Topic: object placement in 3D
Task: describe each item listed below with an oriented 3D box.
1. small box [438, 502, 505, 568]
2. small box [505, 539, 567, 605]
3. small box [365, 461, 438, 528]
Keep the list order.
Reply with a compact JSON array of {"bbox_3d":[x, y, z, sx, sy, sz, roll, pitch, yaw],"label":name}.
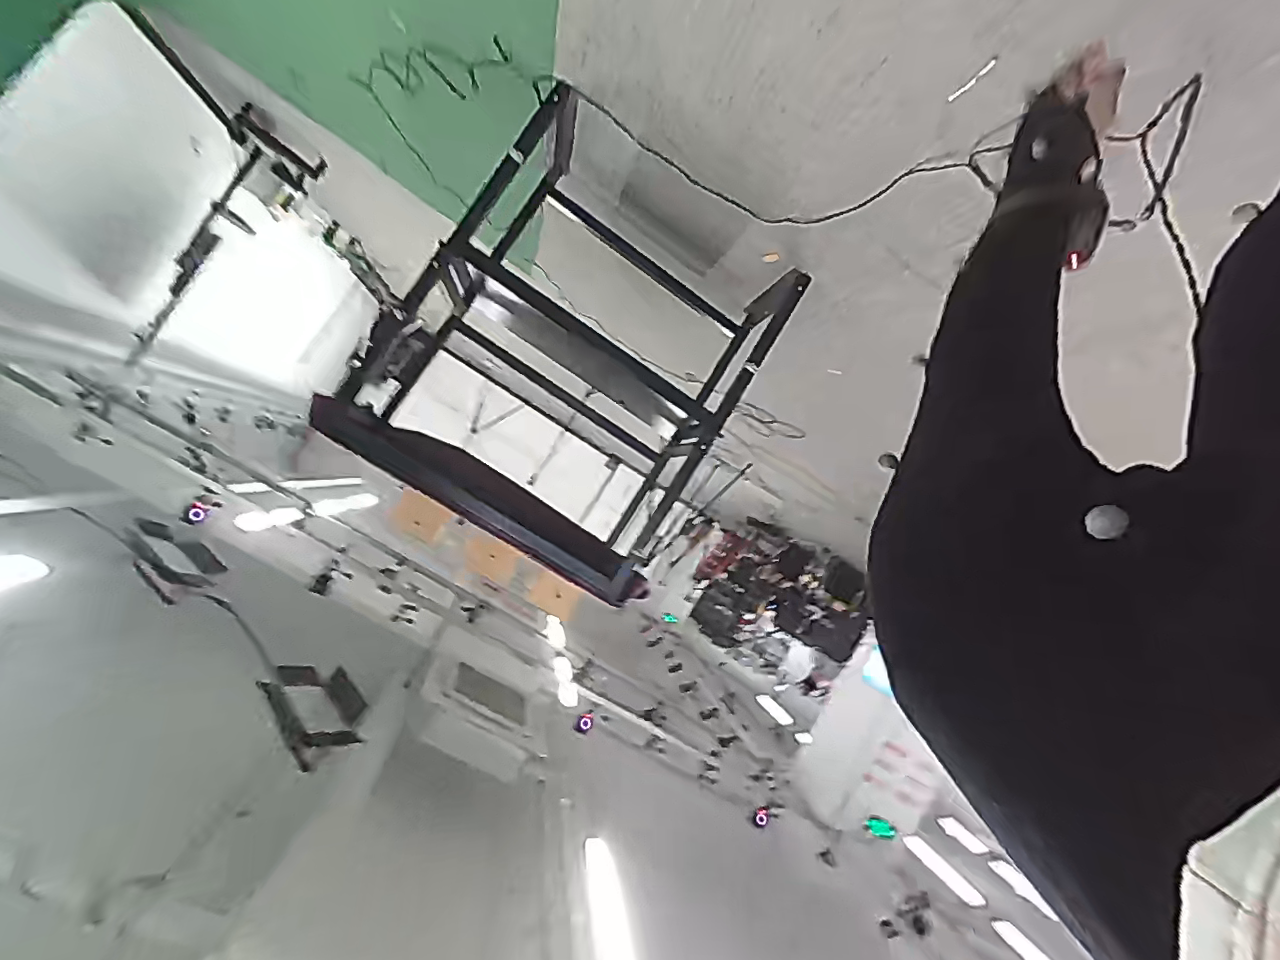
[{"bbox_3d":[-0.632,0.199,2.028,0.179,0.176,0.168,33,176,-17],"label":"small box"},{"bbox_3d":[-0.402,0.350,2.087,0.179,0.176,0.168,33,175,-15],"label":"small box"},{"bbox_3d":[-0.853,0.050,1.957,0.179,0.176,0.168,34,176,-13],"label":"small box"}]
